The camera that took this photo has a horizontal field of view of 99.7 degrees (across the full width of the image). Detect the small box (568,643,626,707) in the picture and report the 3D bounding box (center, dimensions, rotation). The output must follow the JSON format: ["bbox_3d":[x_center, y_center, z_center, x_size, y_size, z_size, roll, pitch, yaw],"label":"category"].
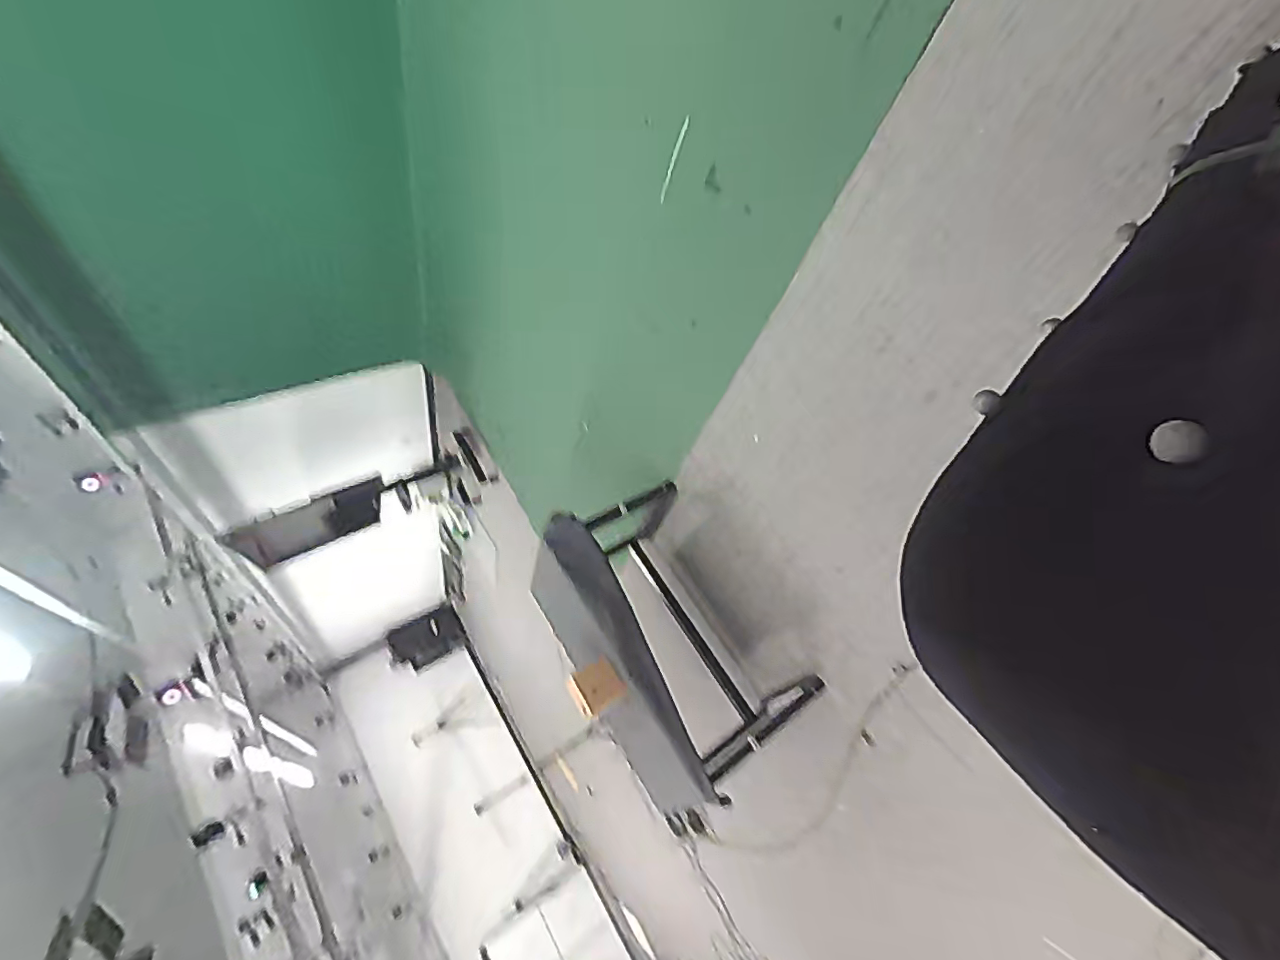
[{"bbox_3d":[-0.178,0.813,2.263,0.179,0.176,0.168,55,150,20],"label":"small box"}]
